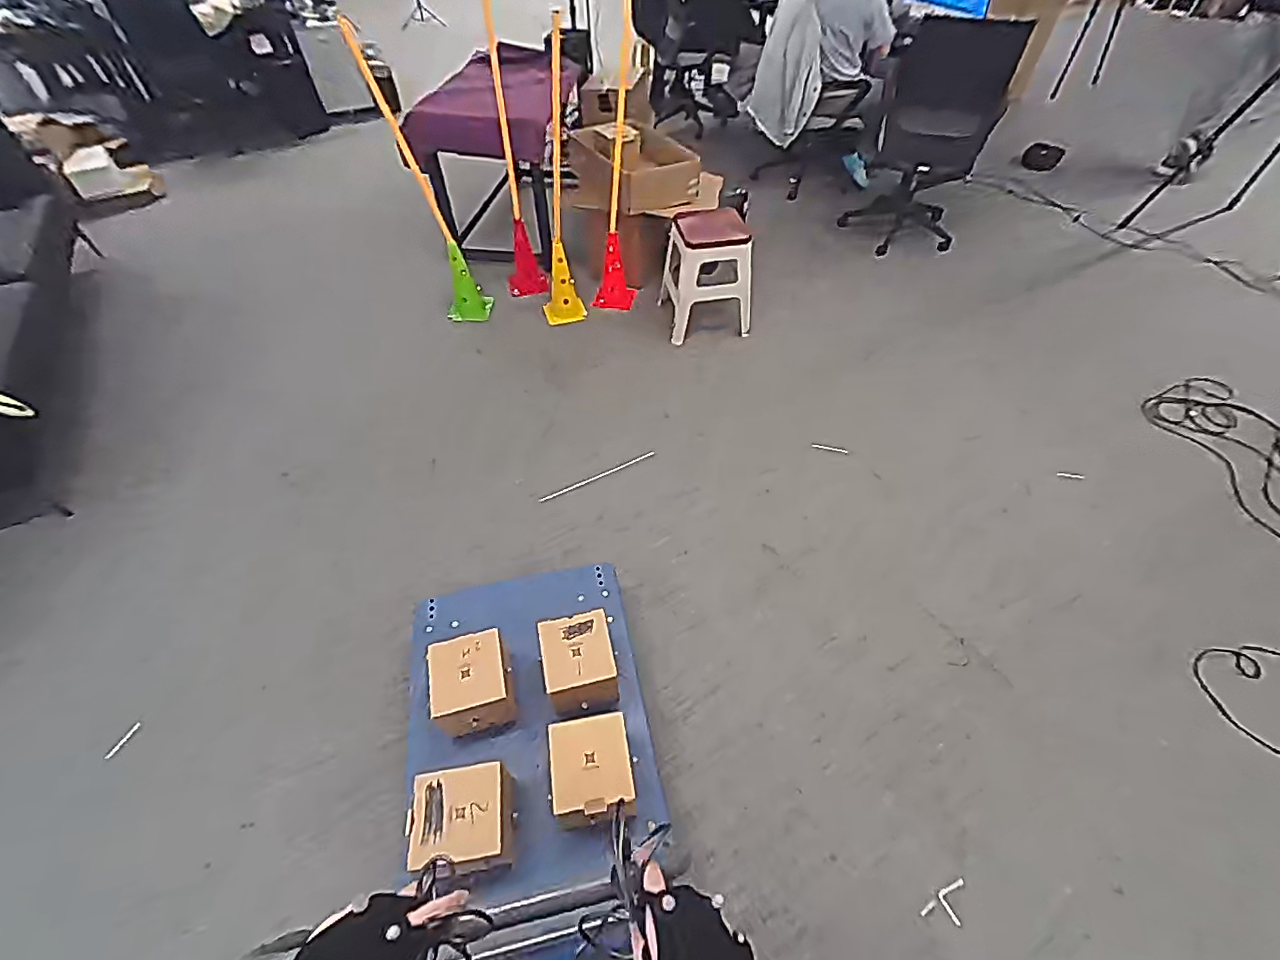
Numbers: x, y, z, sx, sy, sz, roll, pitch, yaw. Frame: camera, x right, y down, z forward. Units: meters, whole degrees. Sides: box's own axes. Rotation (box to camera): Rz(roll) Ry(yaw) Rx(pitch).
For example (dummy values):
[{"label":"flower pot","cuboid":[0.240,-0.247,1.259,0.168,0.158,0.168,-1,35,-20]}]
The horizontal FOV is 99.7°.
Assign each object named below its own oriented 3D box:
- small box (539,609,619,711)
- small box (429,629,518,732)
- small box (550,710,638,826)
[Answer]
[{"label":"small box","cuboid":[-0.150,0.447,1.338,0.168,0.176,0.179,-11,53,-7]},{"label":"small box","cuboid":[-0.399,0.491,1.306,0.168,0.176,0.179,-12,51,-10]},{"label":"small box","cuboid":[-0.100,0.633,1.187,0.168,0.176,0.179,-9,51,-6]}]
